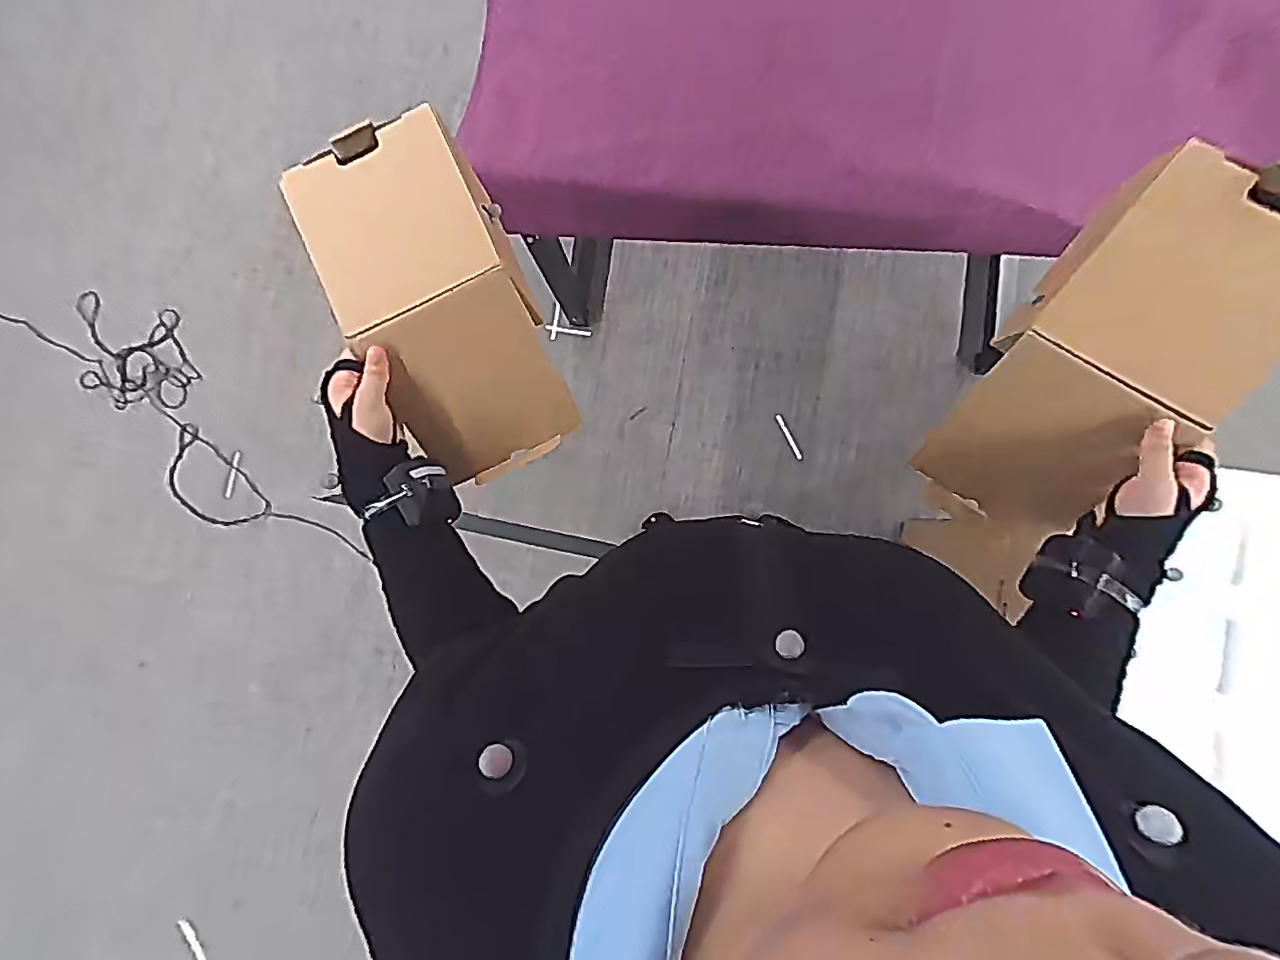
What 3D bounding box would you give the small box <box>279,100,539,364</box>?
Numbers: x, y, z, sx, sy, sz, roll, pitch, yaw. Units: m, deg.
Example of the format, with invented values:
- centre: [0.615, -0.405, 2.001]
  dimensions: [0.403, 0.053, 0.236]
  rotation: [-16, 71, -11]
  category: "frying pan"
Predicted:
- centre: [-0.228, -0.242, 0.582]
  dimensions: [0.168, 0.176, 0.179]
  rotation: [-25, 86, 2]
  category: "small box"
